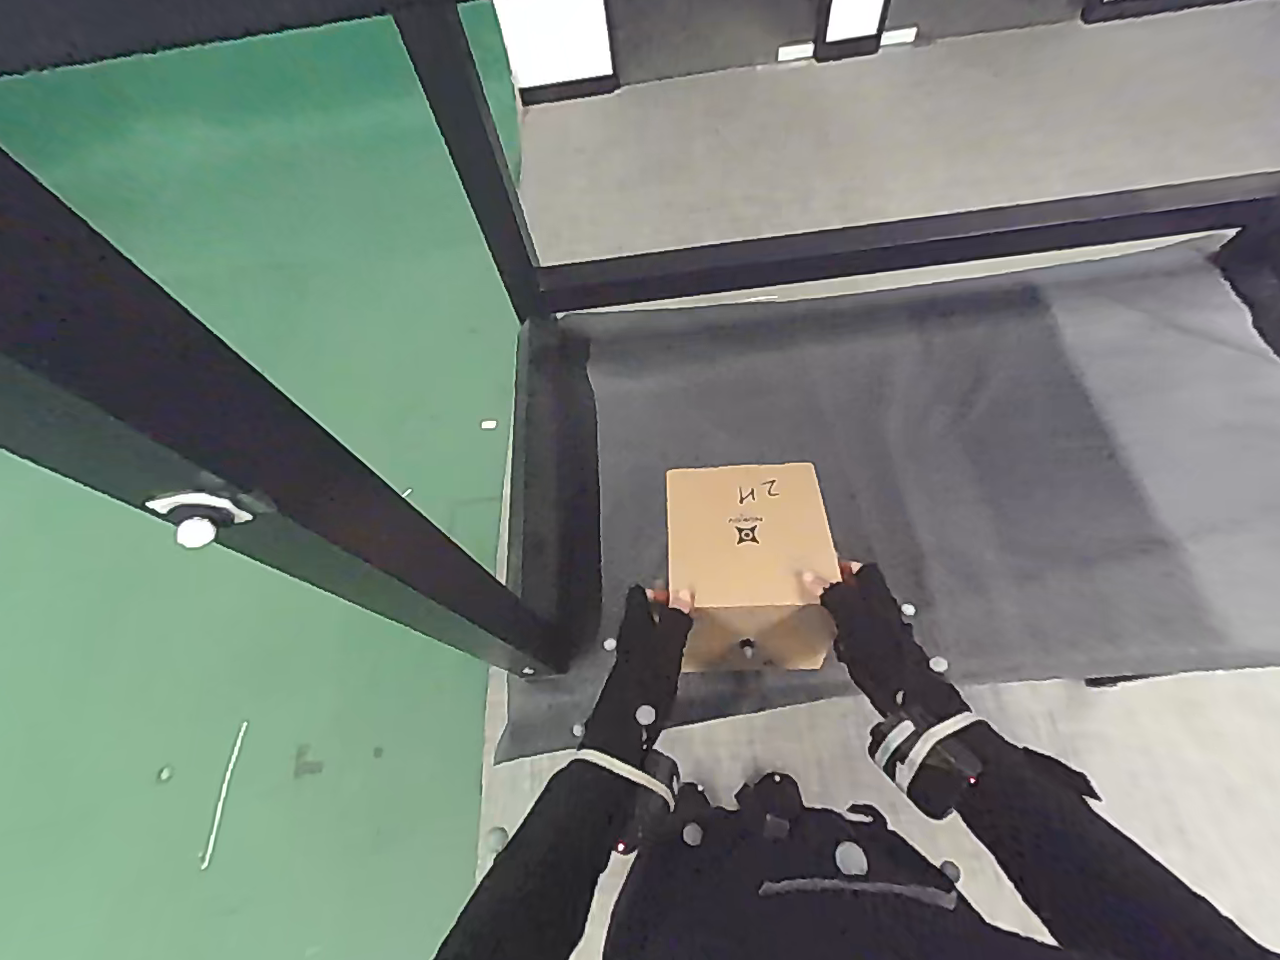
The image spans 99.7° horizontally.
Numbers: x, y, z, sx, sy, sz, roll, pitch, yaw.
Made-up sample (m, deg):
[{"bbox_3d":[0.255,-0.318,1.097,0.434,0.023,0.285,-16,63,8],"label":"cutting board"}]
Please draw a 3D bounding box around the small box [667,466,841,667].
[{"bbox_3d":[0.118,0.105,0.622,0.168,0.176,0.179,-2,50,5],"label":"small box"}]
